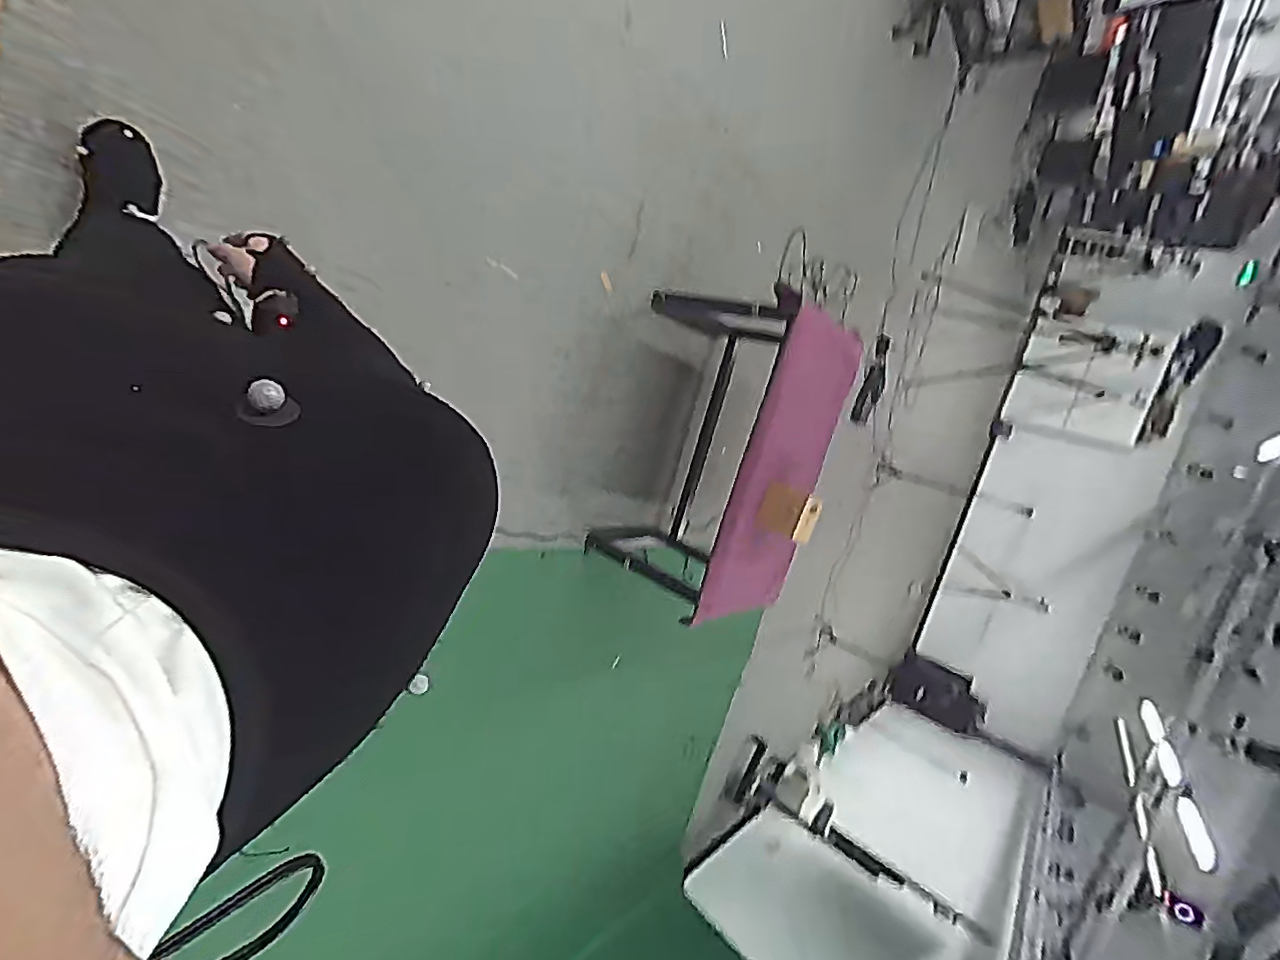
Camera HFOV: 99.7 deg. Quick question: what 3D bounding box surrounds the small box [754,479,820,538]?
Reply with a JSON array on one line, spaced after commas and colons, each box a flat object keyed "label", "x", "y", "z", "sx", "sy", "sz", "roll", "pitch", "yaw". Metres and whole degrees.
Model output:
[{"label": "small box", "x": 0.570, "y": 0.108, "z": 2.112, "sx": 0.168, "sy": 0.176, "sz": 0.179, "roll": 18, "pitch": 95, "yaw": -52}]
